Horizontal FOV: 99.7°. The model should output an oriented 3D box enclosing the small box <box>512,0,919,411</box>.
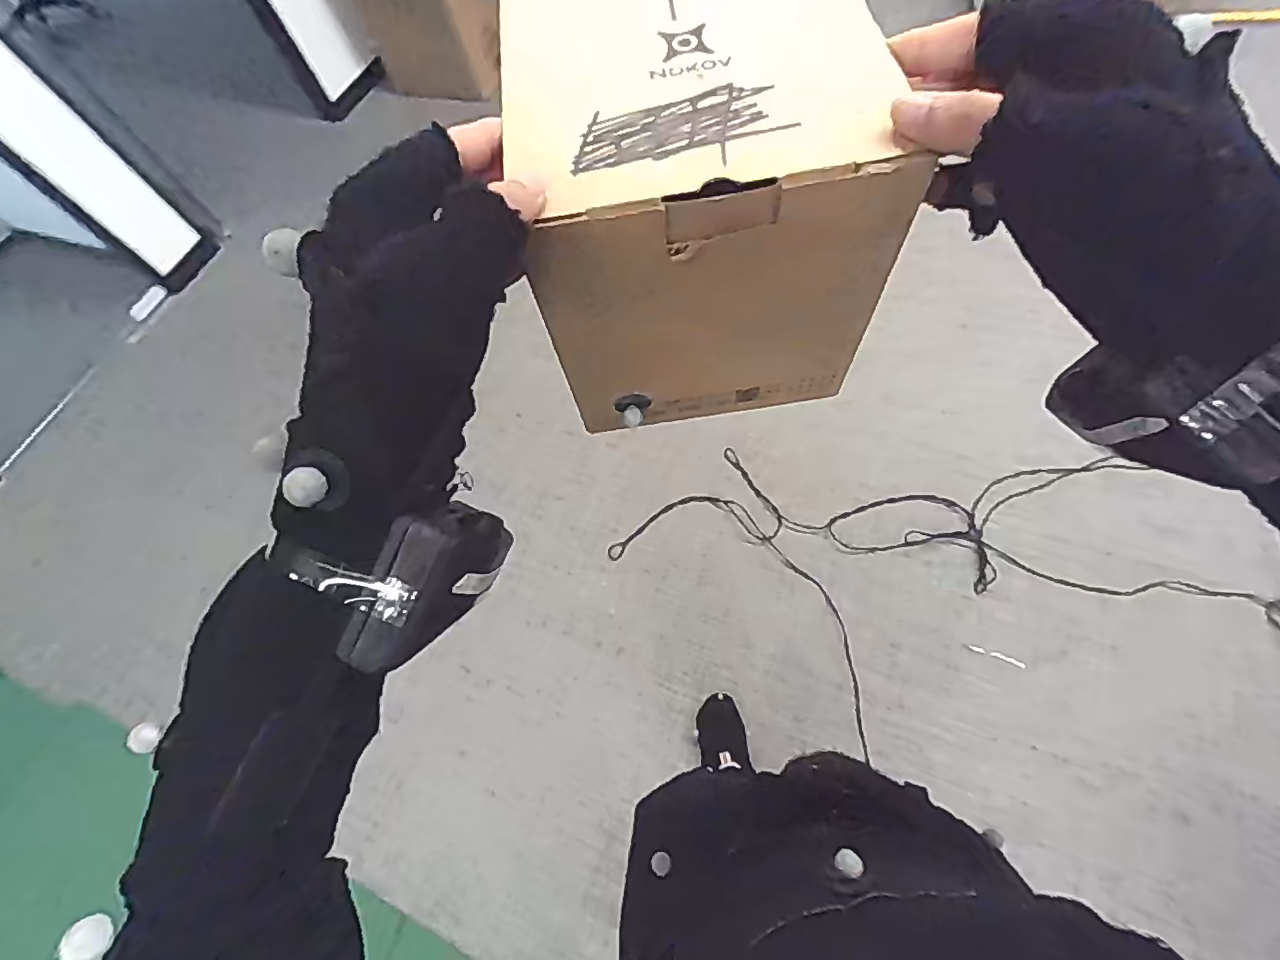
[{"bbox_3d":[0.031,-0.155,0.320,0.168,0.176,0.179,-8,66,3],"label":"small box"}]
